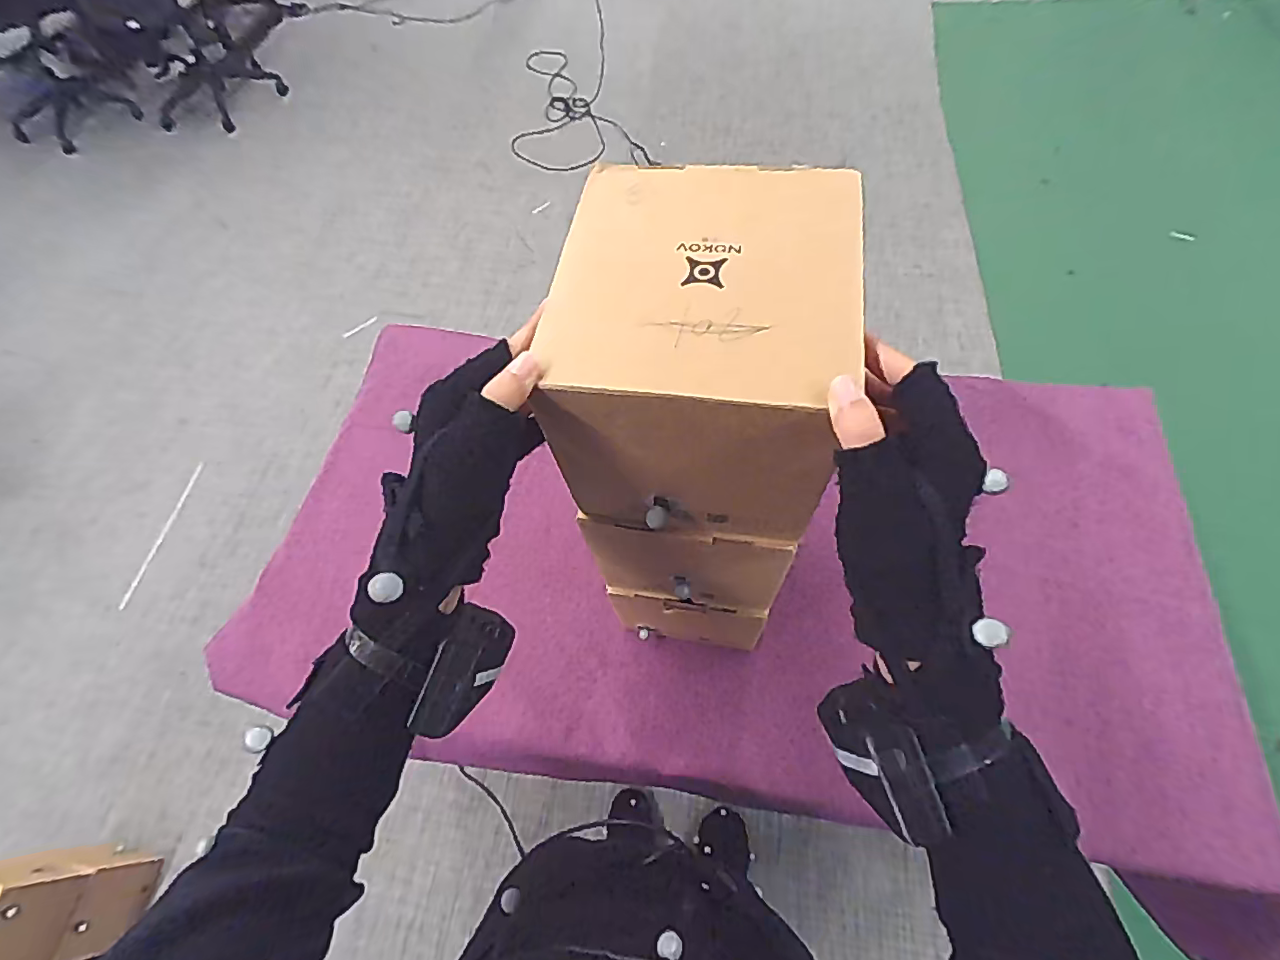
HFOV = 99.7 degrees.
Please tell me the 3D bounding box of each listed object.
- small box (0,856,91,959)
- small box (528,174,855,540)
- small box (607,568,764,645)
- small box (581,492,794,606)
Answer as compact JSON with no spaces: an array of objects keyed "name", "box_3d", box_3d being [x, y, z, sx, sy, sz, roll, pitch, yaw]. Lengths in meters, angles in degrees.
[{"name":"small box","box_3d":[-1.218,0.836,1.018,0.168,0.176,0.179,5,62,8]},{"name":"small box","box_3d":[0.042,-0.077,0.374,0.168,0.176,0.179,7,64,10]},{"name":"small box","box_3d":[0.068,0.088,0.655,0.168,0.176,0.179,7,62,9]},{"name":"small box","box_3d":[0.055,0.003,0.515,0.168,0.176,0.179,7,63,10]}]
